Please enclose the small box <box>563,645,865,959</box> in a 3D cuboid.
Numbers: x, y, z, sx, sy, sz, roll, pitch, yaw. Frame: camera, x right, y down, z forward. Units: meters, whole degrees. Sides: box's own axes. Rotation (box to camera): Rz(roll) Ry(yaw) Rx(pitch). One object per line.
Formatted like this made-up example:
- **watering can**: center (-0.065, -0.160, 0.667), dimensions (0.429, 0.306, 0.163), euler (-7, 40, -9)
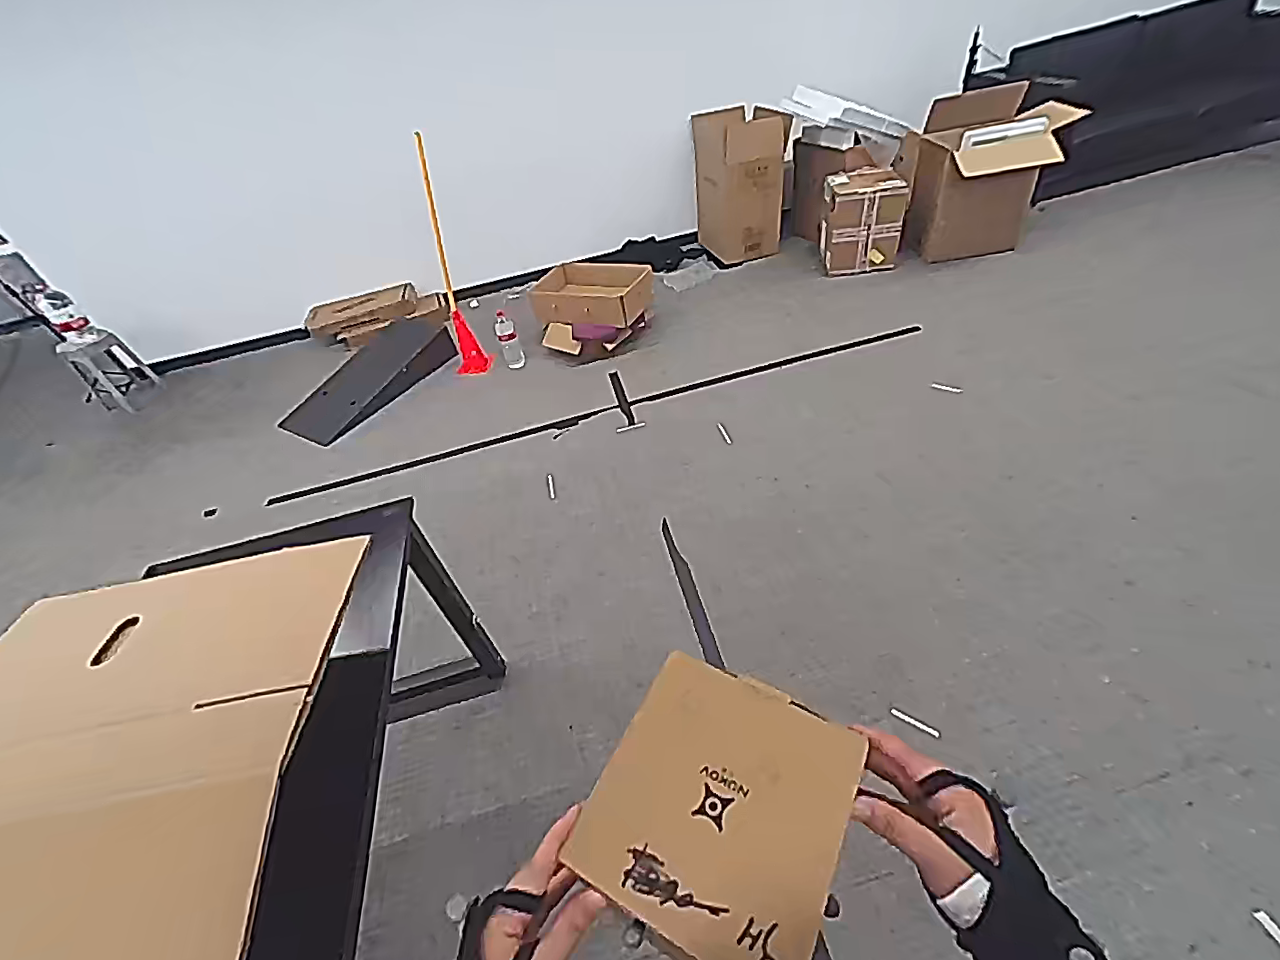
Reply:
- **small box**: center (0.065, 0.277, 0.440), dimensions (0.168, 0.176, 0.179), euler (17, 48, 27)
